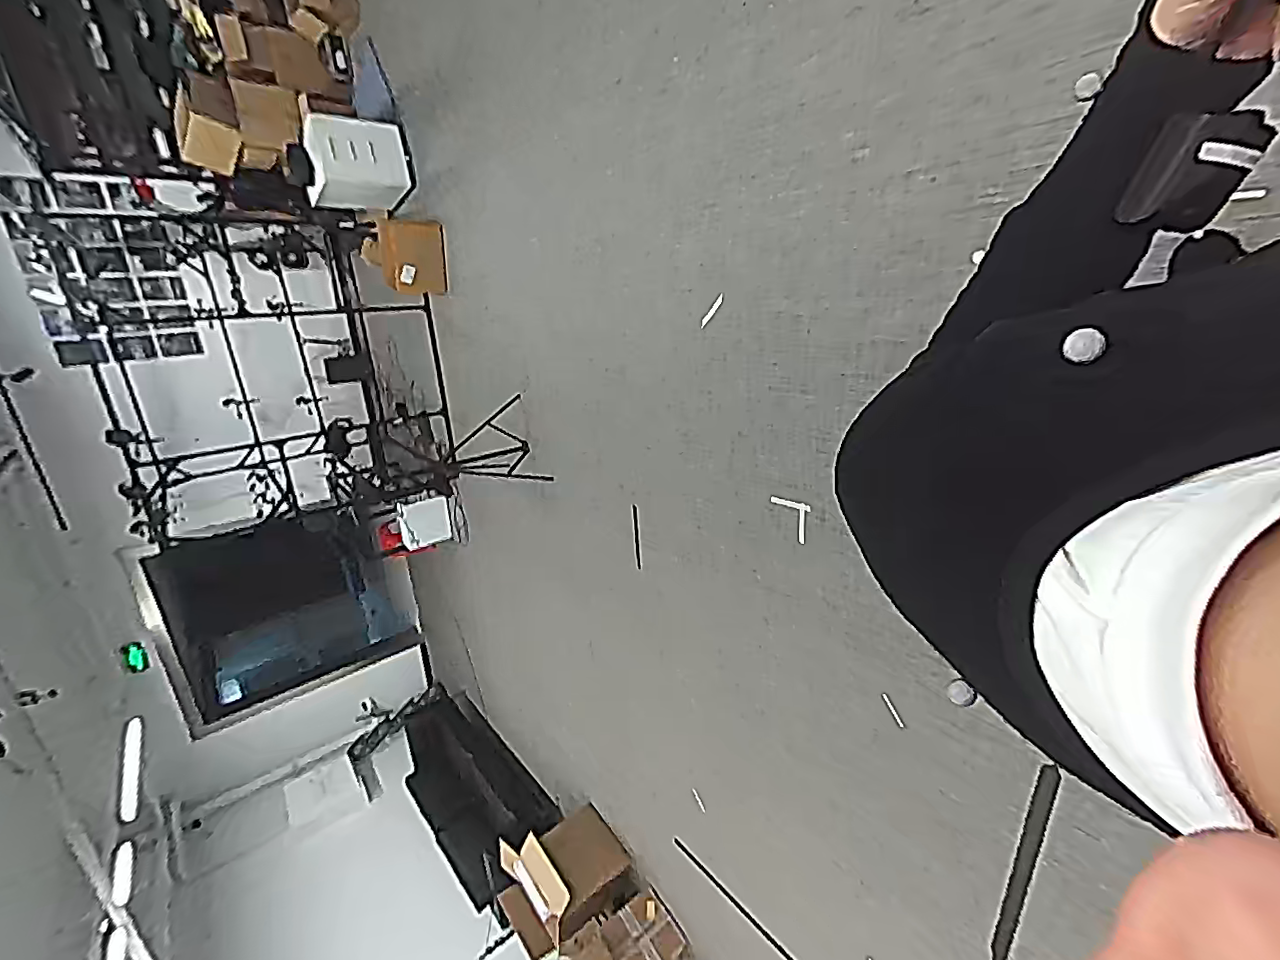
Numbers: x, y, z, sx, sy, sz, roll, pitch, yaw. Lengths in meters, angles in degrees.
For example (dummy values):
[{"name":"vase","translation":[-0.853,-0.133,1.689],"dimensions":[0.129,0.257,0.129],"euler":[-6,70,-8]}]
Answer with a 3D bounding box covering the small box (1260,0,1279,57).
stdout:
[{"name":"small box","translation":[0.339,-0.275,0.163],"dimensions":[0.179,0.176,0.168],"euler":[6,109,43]}]
